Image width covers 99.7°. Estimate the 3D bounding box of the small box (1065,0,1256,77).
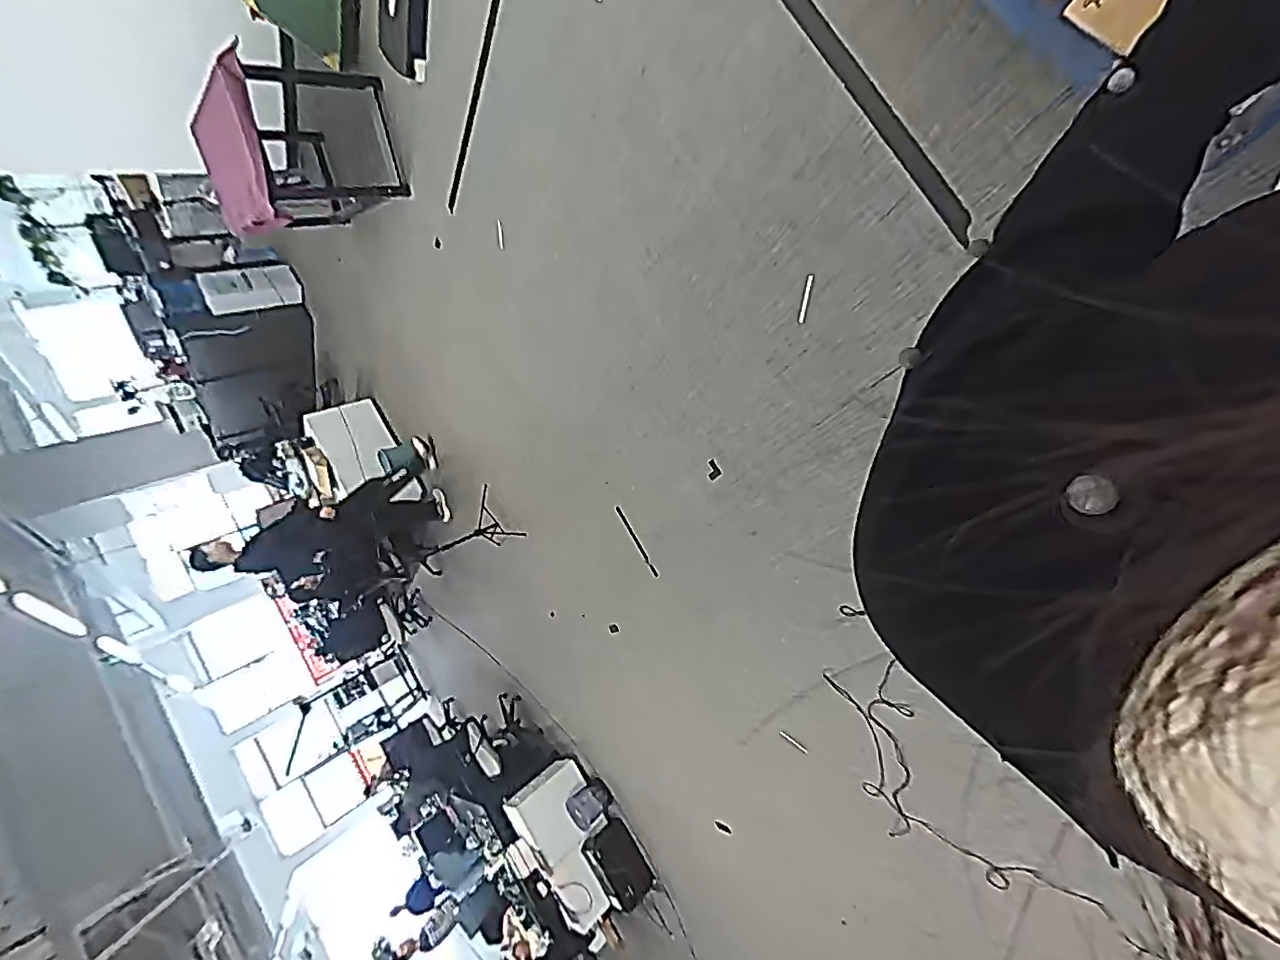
[{"bbox_3d":[0.753,-0.696,0.751,0.179,0.176,0.168,51,140,15],"label":"small box"}]
